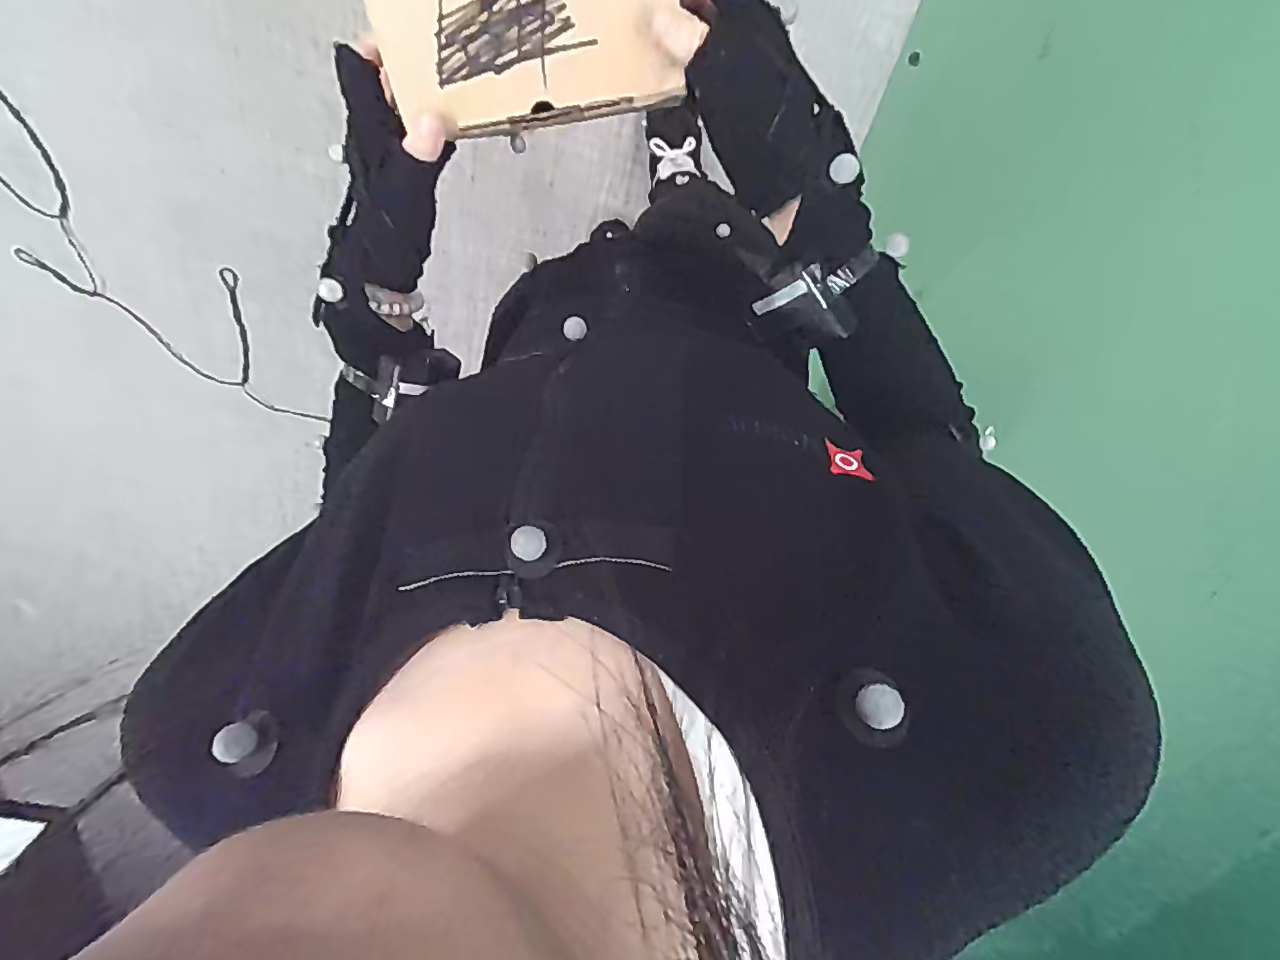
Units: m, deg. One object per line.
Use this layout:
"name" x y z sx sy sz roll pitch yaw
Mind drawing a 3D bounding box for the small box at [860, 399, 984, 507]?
"small box" 0.651 -0.069 1.277 0.168 0.176 0.179 17 120 -8
